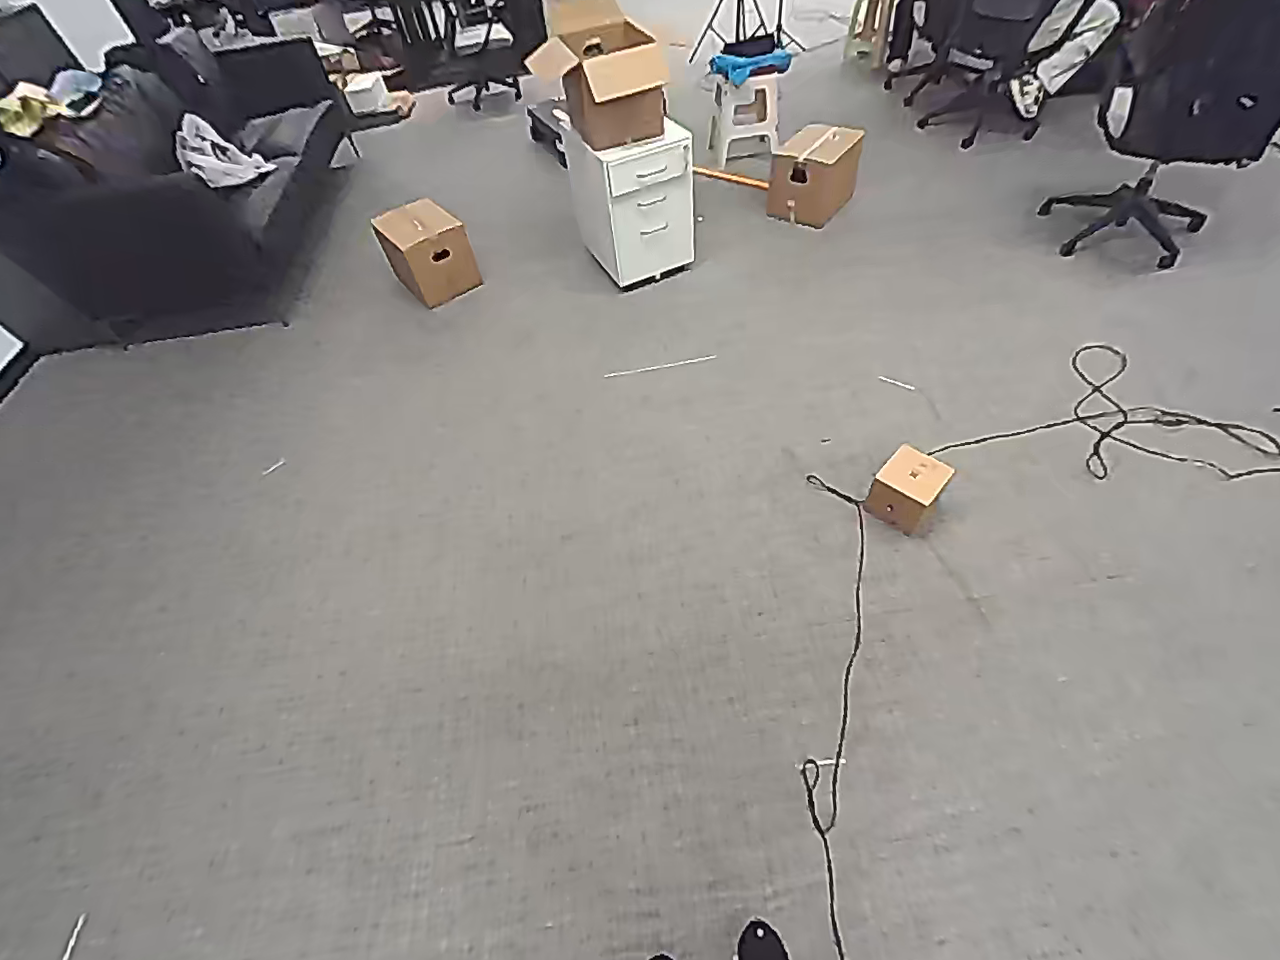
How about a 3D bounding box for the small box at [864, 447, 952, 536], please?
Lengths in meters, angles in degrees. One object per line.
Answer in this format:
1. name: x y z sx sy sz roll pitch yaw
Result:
1. small box: 0.809 0.039 1.650 0.168 0.176 0.179 35 63 29
